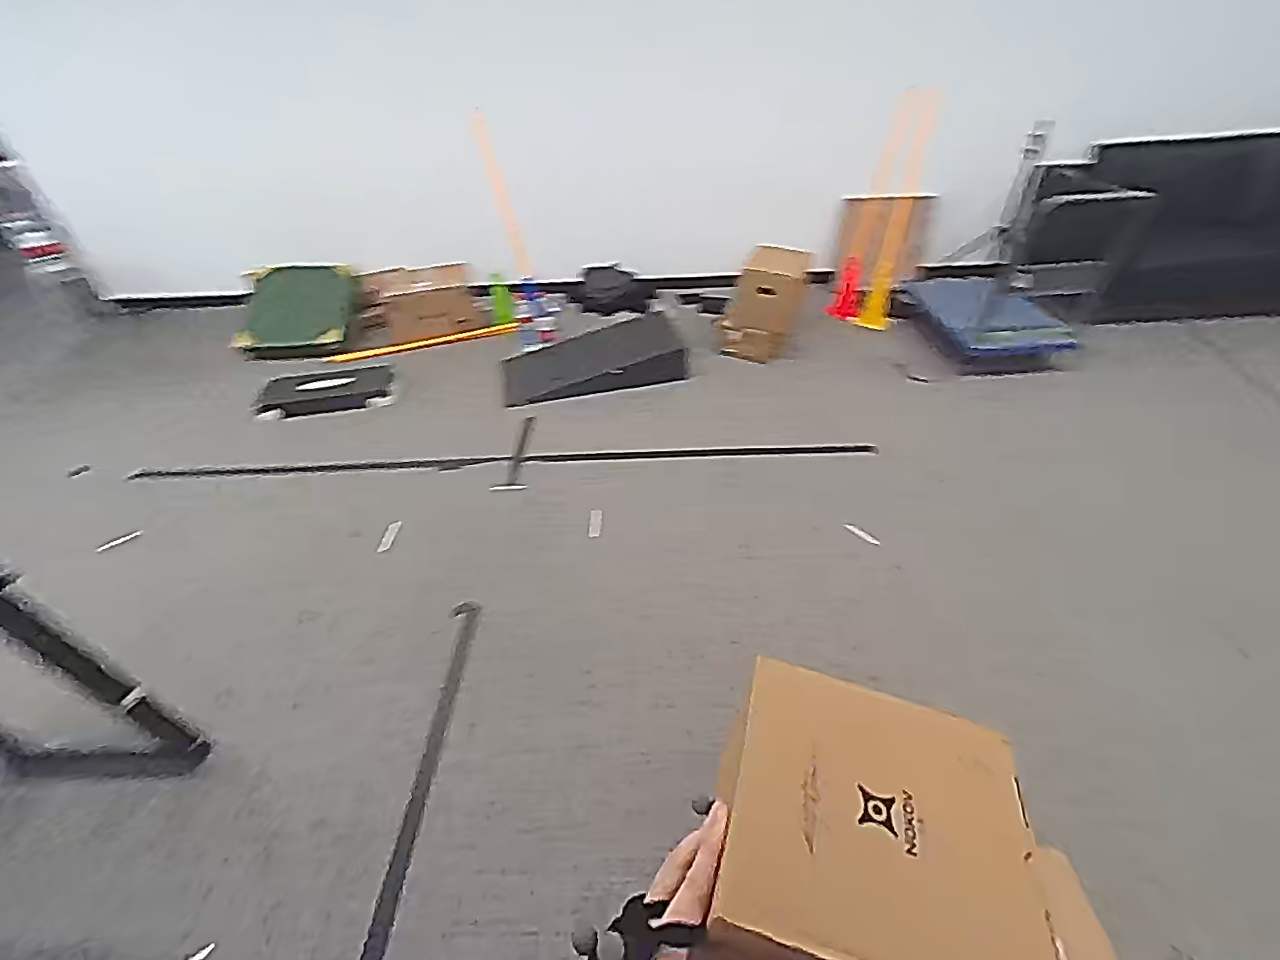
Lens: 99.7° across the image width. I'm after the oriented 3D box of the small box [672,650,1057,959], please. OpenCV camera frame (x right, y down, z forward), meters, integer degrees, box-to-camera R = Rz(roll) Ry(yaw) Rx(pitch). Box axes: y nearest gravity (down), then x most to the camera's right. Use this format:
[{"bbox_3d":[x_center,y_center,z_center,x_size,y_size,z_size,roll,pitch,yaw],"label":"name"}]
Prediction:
[{"bbox_3d":[0.132,0.253,0.367,0.179,0.176,0.168,14,39,10],"label":"small box"}]
